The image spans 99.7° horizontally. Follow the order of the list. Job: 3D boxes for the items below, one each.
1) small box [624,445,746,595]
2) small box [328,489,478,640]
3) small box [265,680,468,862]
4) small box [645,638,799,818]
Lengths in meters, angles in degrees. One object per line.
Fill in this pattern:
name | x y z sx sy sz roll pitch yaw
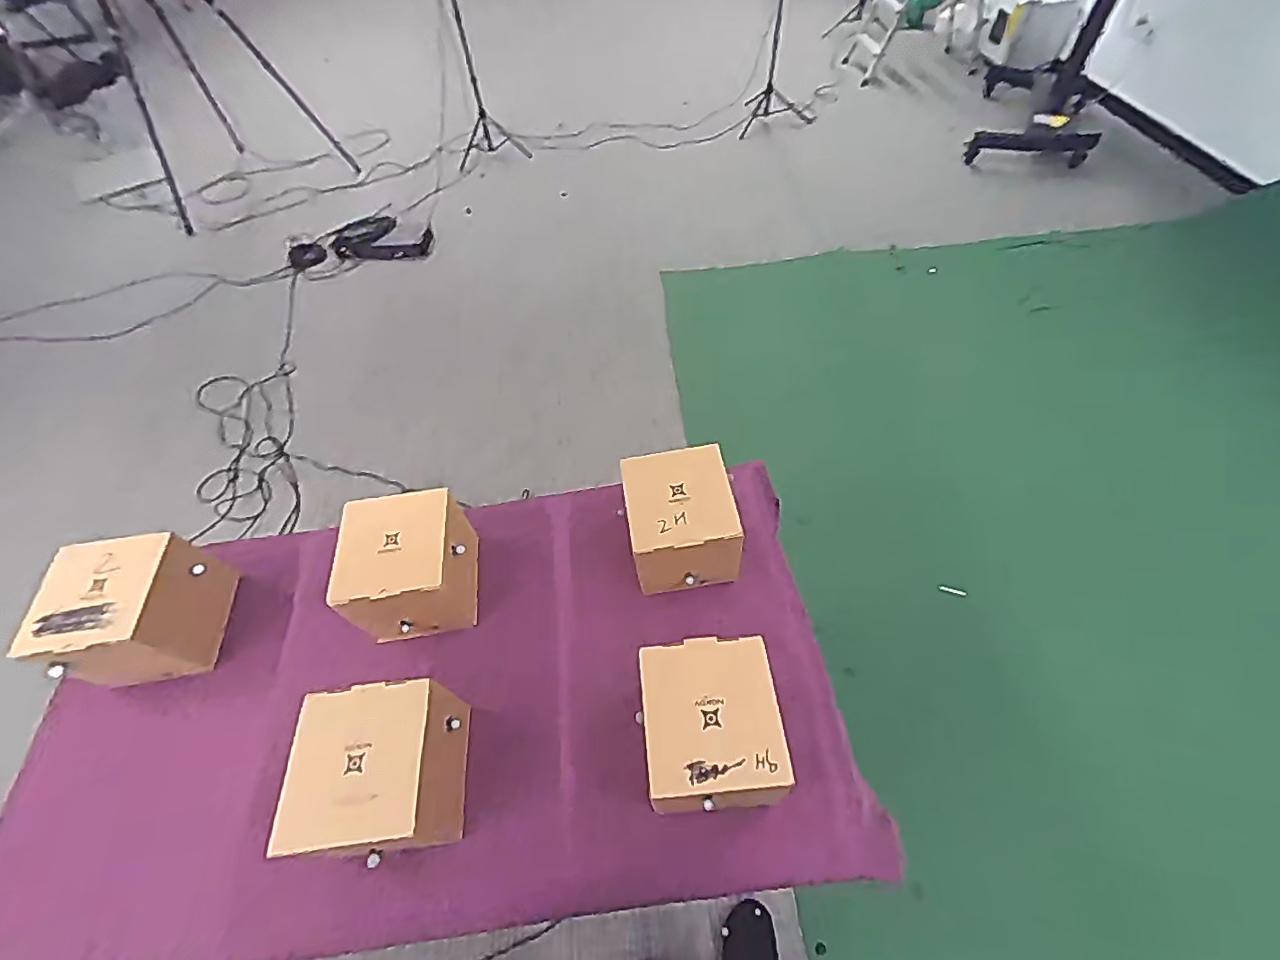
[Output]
small box | 0.069 0.070 0.895 0.168 0.176 0.179 -9 56 0
small box | -0.367 0.139 0.874 0.168 0.176 0.179 -8 56 -3
small box | -0.332 0.379 0.701 0.168 0.176 0.179 -7 54 -1
small box | 0.095 0.329 0.713 0.168 0.176 0.179 -6 52 0
